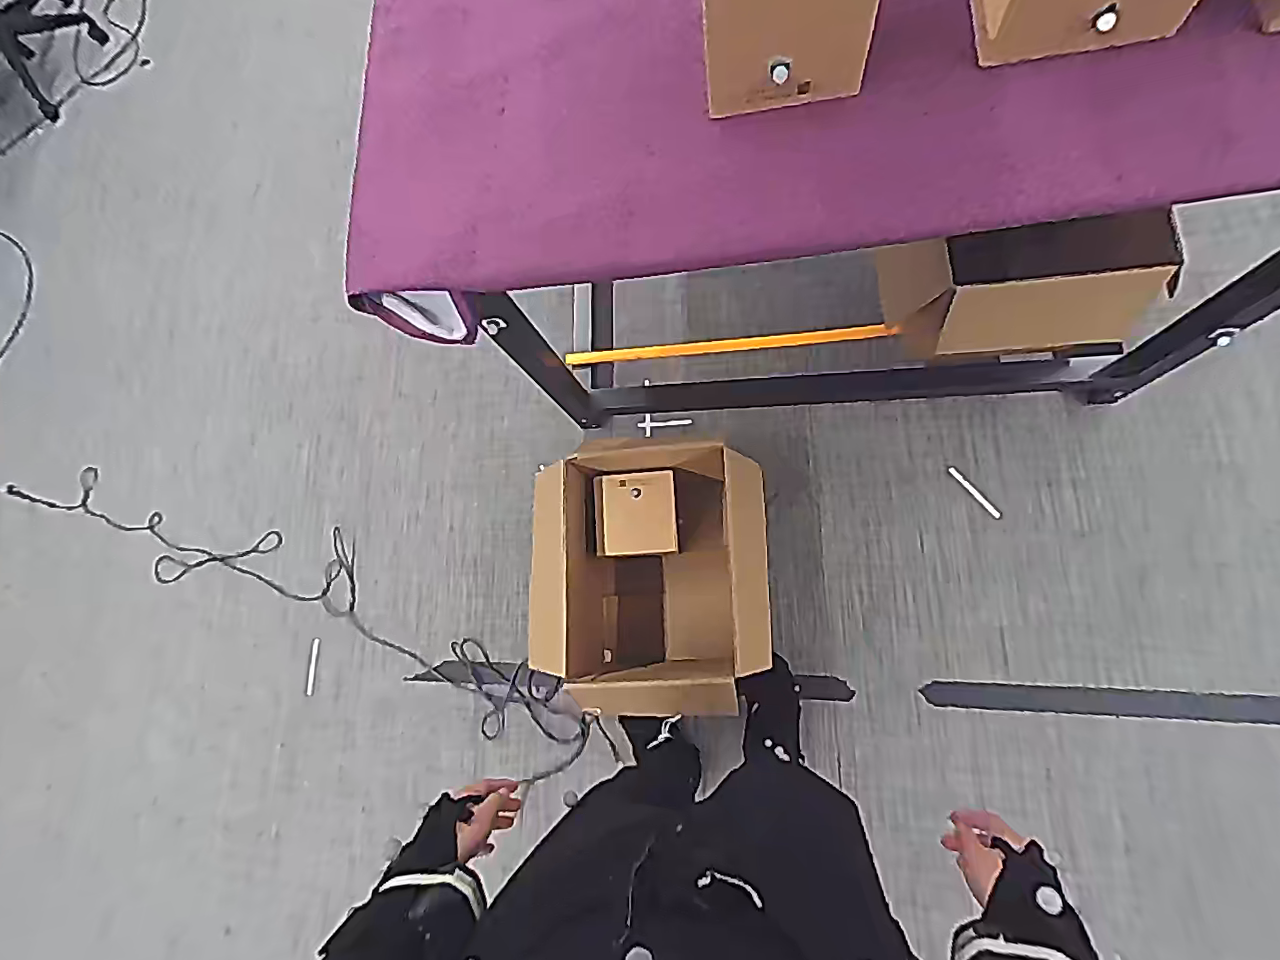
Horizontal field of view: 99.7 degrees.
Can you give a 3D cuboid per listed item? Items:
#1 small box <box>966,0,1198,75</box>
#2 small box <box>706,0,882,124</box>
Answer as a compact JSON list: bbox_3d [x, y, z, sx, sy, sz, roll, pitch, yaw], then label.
[{"bbox_3d":[0.435,-0.535,0.508,0.179,0.176,0.168,-1,76,12],"label":"small box"},{"bbox_3d":[0.153,-0.522,0.566,0.168,0.176,0.179,-3,77,11],"label":"small box"}]
